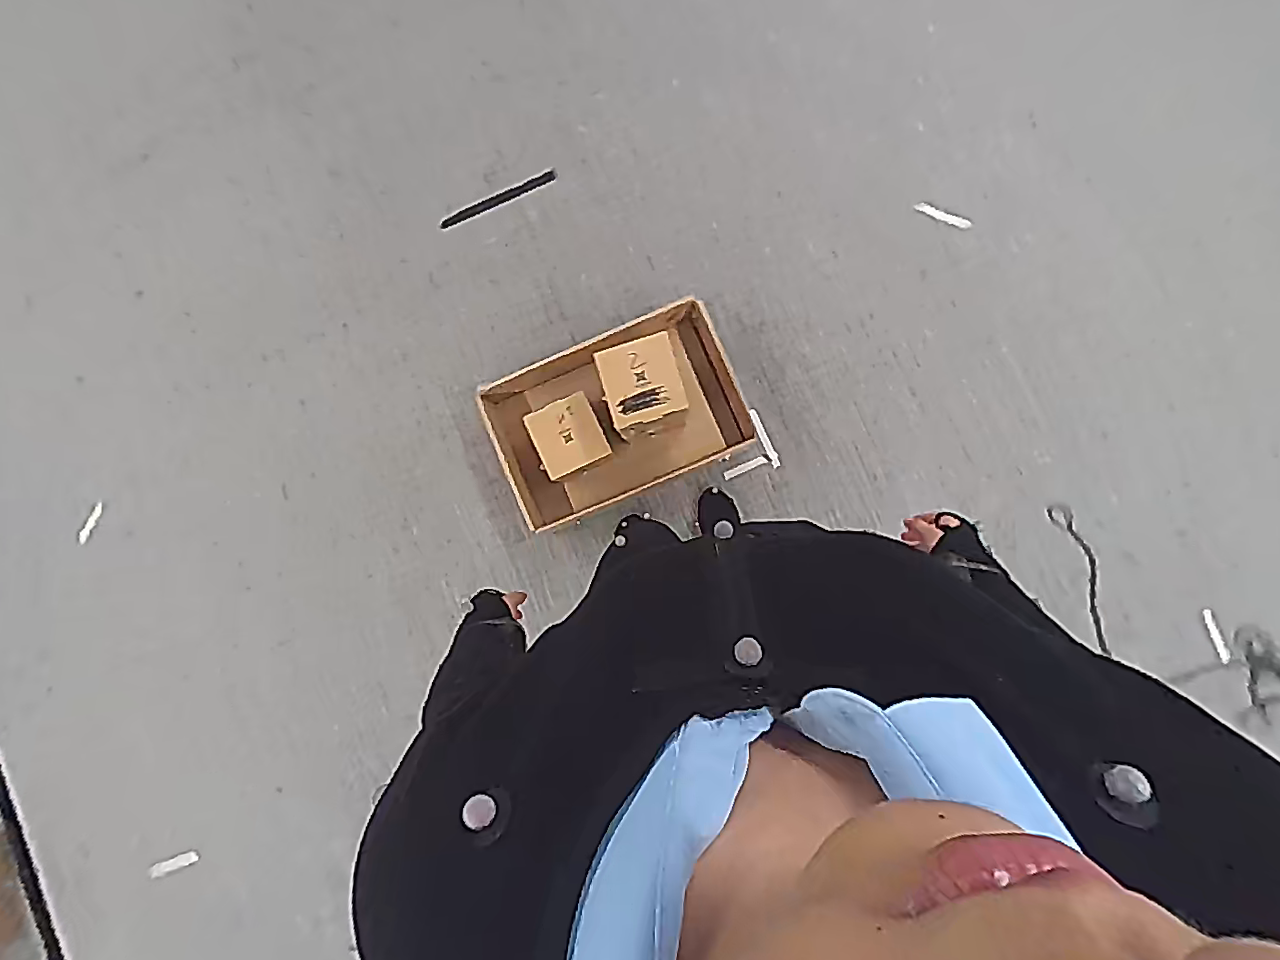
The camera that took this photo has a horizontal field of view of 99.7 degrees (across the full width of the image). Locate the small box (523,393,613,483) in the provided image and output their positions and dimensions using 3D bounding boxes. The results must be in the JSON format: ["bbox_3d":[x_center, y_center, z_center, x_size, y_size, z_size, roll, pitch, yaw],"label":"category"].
[{"bbox_3d":[-0.177,-0.102,1.397,0.168,0.176,0.179,-25,87,-1],"label":"small box"}]
